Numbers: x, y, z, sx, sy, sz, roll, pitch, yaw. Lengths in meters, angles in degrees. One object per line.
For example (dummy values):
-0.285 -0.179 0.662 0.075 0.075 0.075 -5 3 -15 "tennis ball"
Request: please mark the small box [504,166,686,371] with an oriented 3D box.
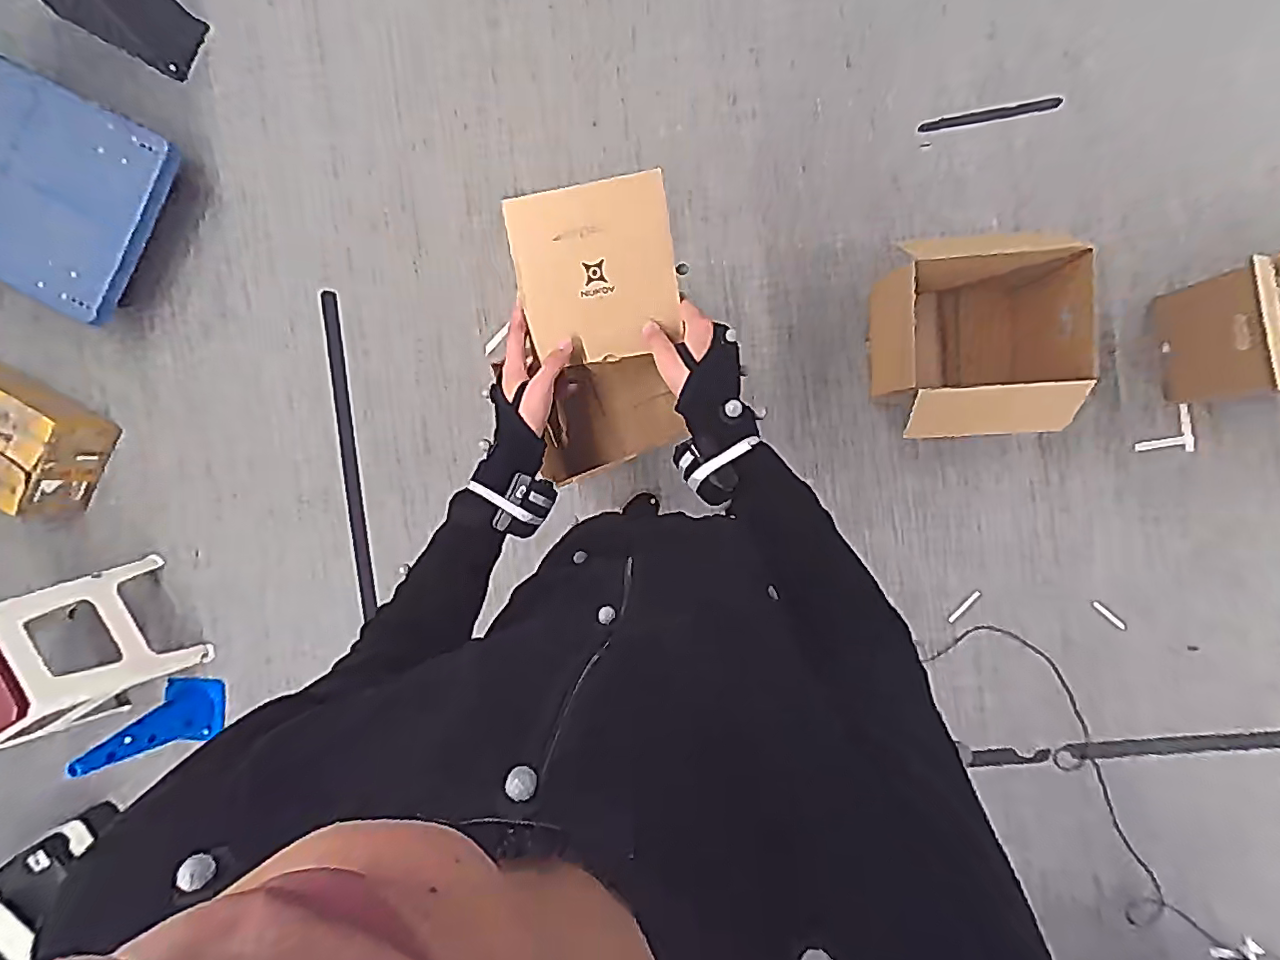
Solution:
-0.037 -0.231 0.622 0.168 0.176 0.179 -8 105 6 "small box"
